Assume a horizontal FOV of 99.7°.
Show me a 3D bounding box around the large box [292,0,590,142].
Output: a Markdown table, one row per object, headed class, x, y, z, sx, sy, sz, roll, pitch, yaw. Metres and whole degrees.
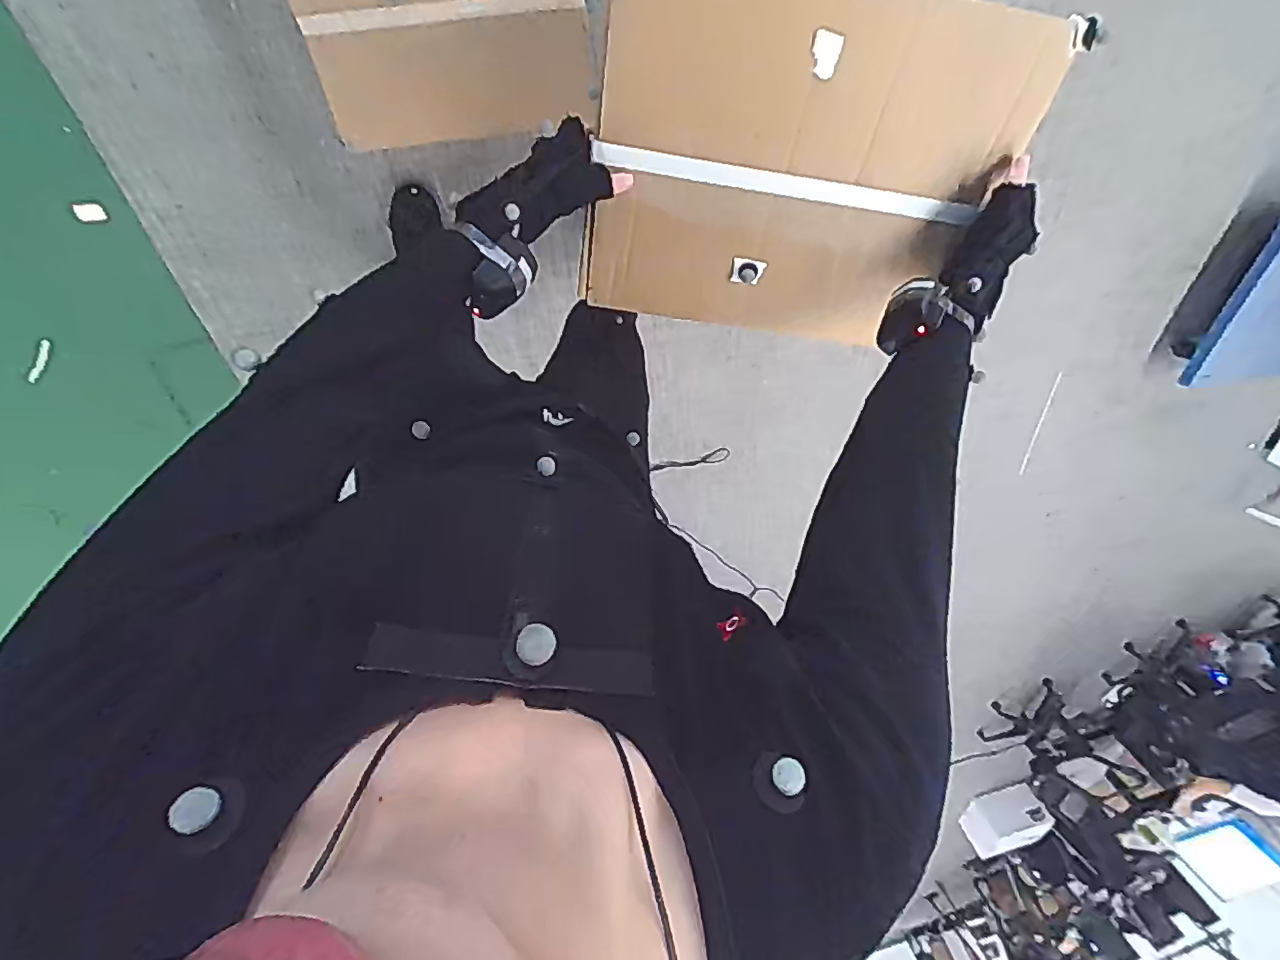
| class | x | y | z | sx | sy | sz | roll | pitch | yaw |
| --- | --- | --- | --- | --- | --- | --- | --- | --- | --- |
| large box | -0.320 | -0.784 | 0.893 | 0.408 | 0.320 | 0.320 | -12 | 129 | -7 |
